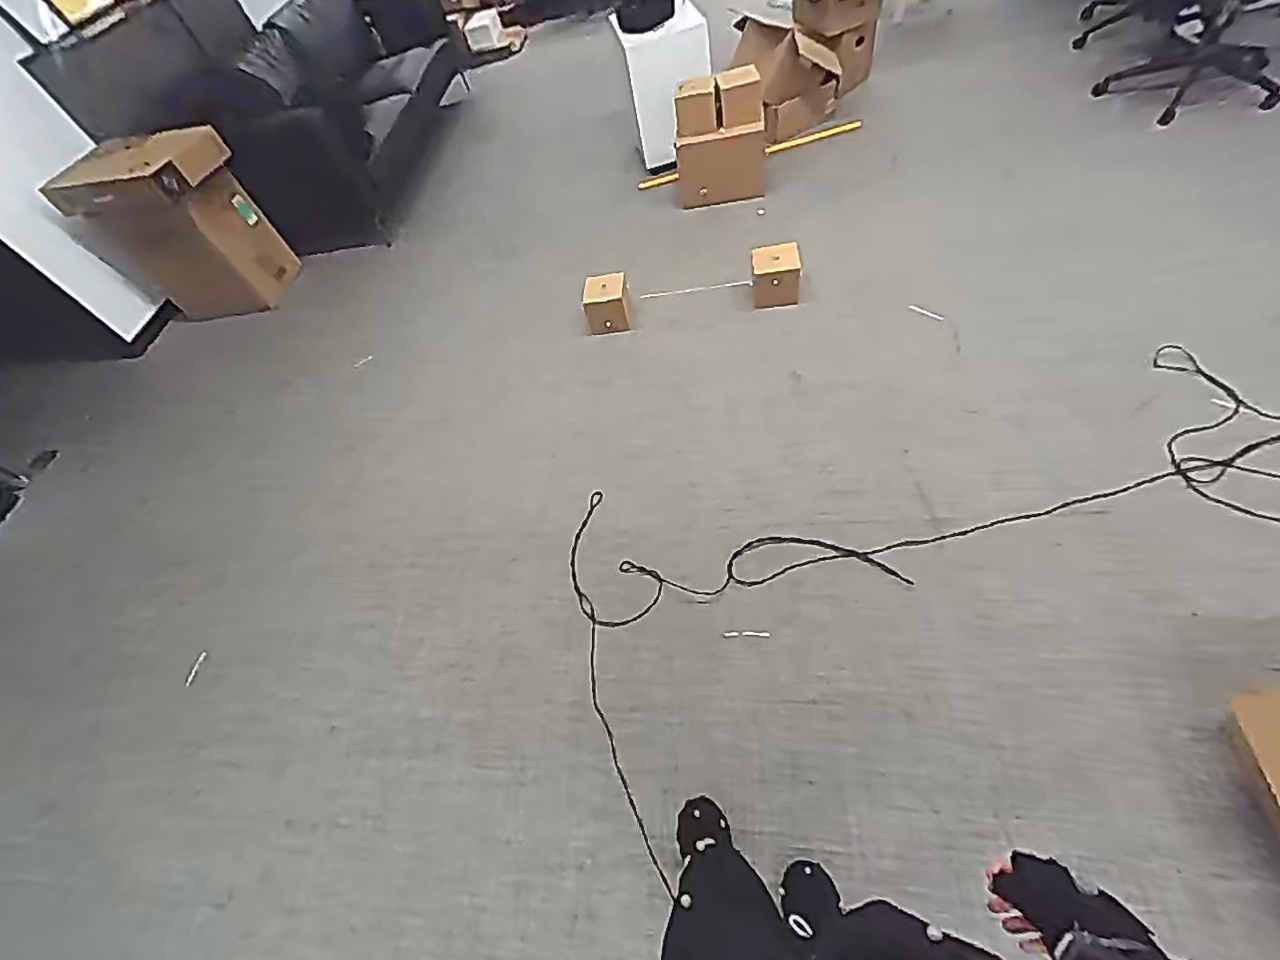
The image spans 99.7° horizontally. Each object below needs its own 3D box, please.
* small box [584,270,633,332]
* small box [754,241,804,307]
[{"bbox_3d":[-0.127,-0.744,2.259,0.168,0.176,0.179,-5,55,11],"label":"small box"},{"bbox_3d":[0.544,-0.811,2.139,0.179,0.176,0.168,-5,56,11],"label":"small box"}]
